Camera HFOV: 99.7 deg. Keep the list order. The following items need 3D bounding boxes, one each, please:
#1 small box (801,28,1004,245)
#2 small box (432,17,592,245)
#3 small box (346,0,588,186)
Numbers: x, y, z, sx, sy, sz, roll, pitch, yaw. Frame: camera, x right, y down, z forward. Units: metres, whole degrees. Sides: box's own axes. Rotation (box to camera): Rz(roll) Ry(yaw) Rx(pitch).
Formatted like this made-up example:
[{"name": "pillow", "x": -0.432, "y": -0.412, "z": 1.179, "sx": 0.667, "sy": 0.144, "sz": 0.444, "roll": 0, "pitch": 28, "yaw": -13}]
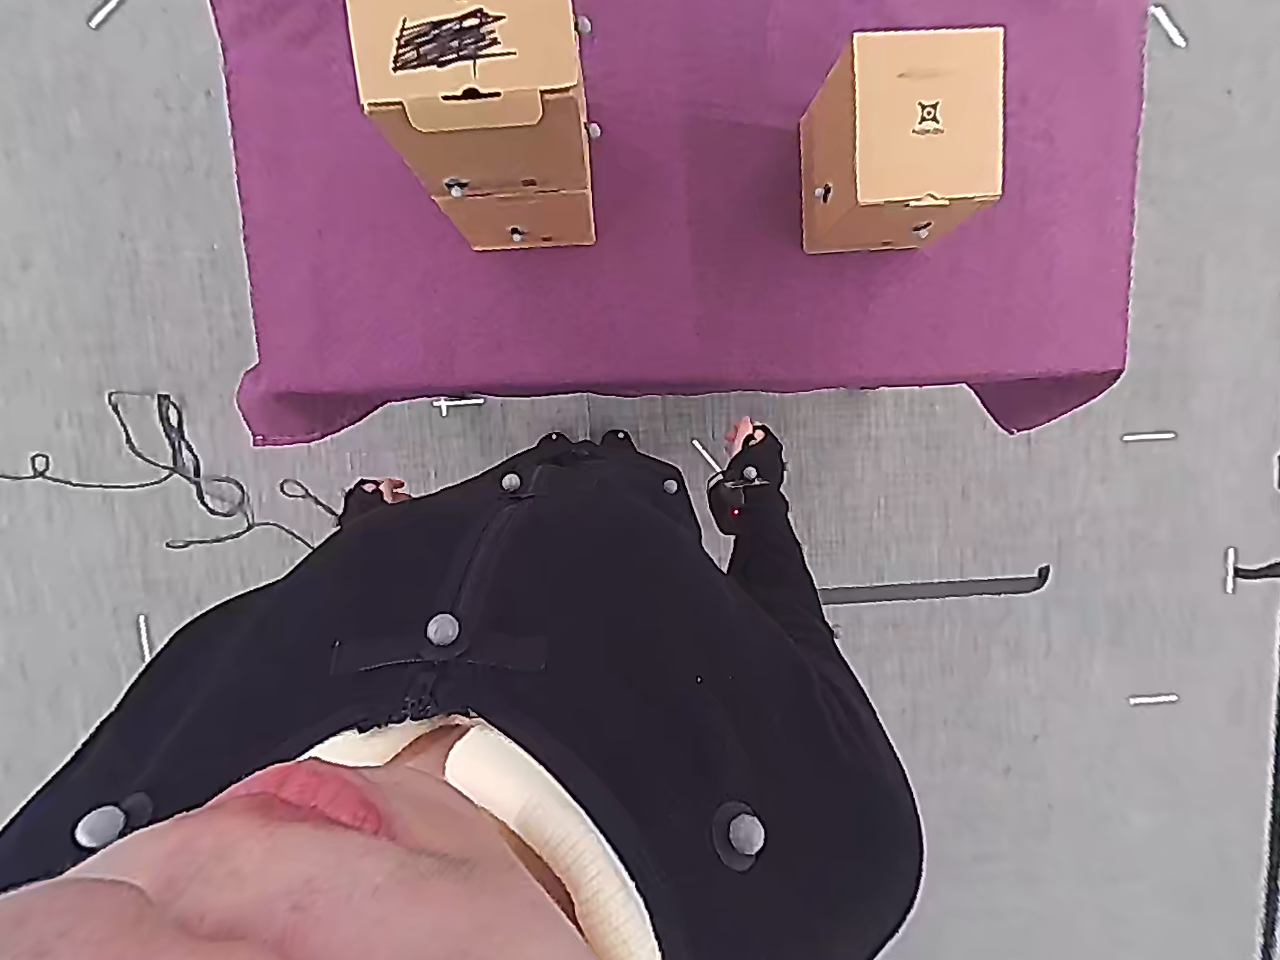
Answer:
[{"name": "small box", "x": 0.304, "y": -0.398, "z": 0.659, "sx": 0.168, "sy": 0.176, "sz": 0.179, "roll": -3, "pitch": 96, "yaw": -3}, {"name": "small box", "x": -0.145, "y": -0.397, "z": 0.639, "sx": 0.168, "sy": 0.176, "sz": 0.179, "roll": -4, "pitch": 97, "yaw": -3}, {"name": "small box", "x": -0.138, "y": -0.380, "z": 0.476, "sx": 0.168, "sy": 0.176, "sz": 0.179, "roll": -5, "pitch": 96, "yaw": -3}]
